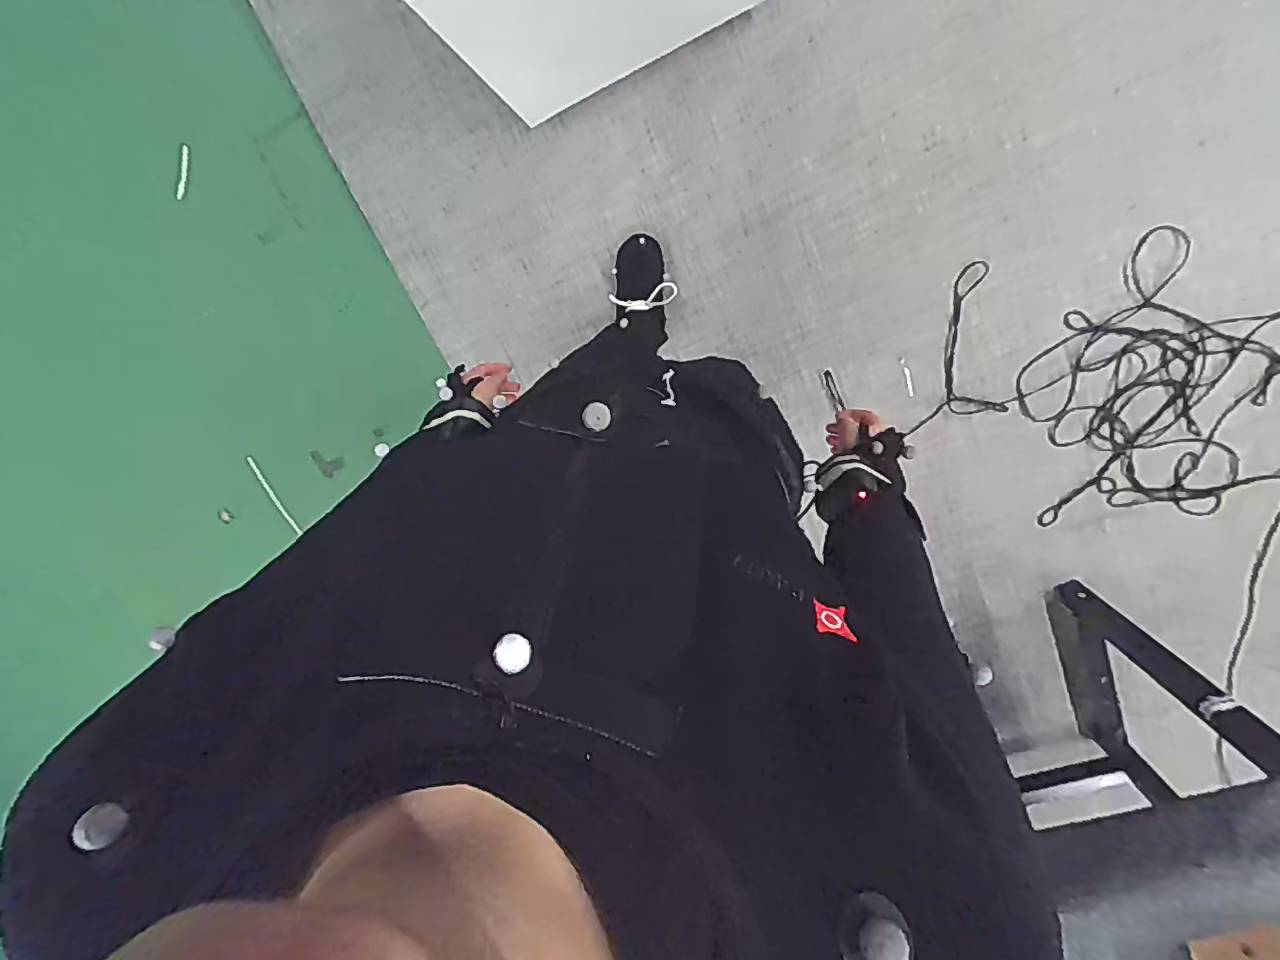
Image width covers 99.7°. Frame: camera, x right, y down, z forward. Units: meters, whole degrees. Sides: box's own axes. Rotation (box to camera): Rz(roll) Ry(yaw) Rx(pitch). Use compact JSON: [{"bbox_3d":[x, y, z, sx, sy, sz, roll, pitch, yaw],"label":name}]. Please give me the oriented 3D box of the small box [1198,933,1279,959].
[{"bbox_3d":[0.933,0.762,0.741,0.168,0.176,0.179,-27,107,15],"label":"small box"}]
